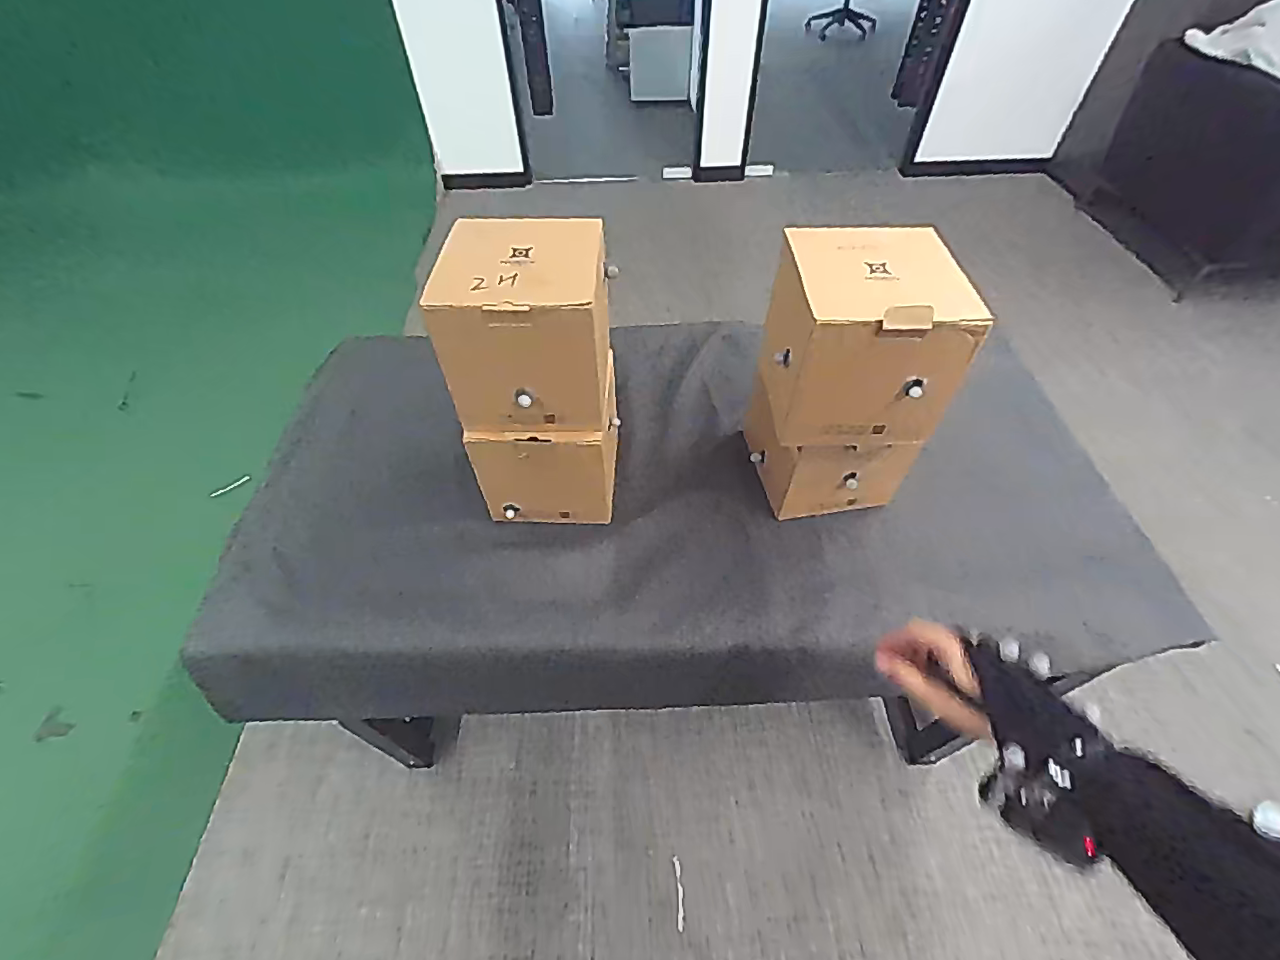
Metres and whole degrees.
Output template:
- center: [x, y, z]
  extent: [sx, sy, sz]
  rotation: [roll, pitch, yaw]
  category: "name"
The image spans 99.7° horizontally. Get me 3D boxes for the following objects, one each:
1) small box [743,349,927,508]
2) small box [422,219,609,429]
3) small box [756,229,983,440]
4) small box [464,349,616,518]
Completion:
- center: [0.252, -0.075, 0.748]
  extent: [0.168, 0.176, 0.179]
  rotation: [-8, 52, -5]
  category: "small box"
- center: [-0.125, -0.178, 0.624]
  extent: [0.168, 0.176, 0.179]
  rotation: [-1, 51, 1]
  category: "small box"
- center: [0.233, -0.158, 0.606]
  extent: [0.168, 0.176, 0.179]
  rotation: [0, 50, 0]
  category: "small box"
- center: [-0.121, -0.062, 0.742]
  extent: [0.168, 0.176, 0.179]
  rotation: [2, 50, 2]
  category: "small box"
